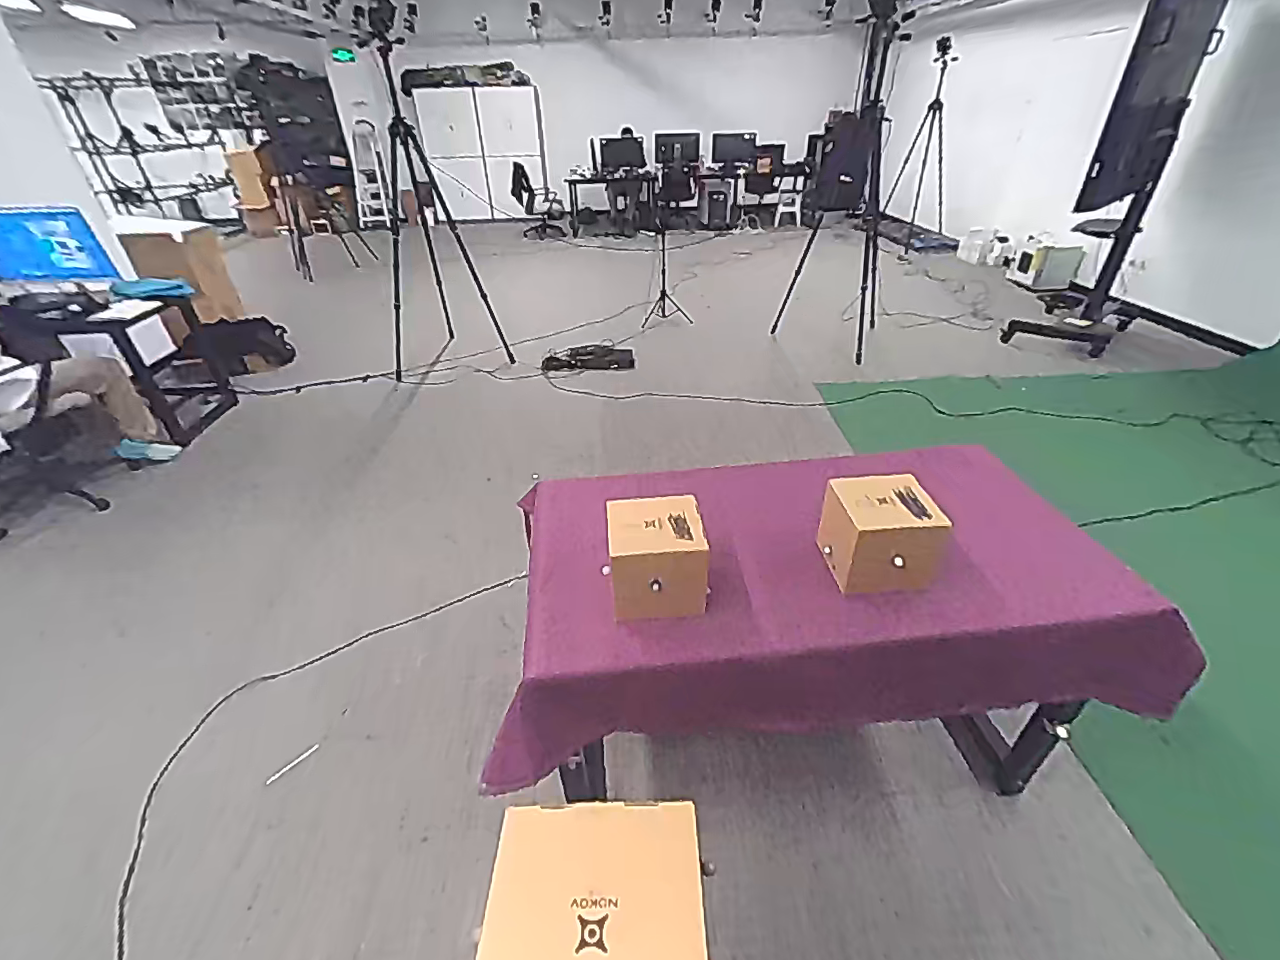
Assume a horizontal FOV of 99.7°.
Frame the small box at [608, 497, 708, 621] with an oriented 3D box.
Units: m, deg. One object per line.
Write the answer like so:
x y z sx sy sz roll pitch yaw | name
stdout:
0.029 0.152 1.043 0.179 0.176 0.168 -4 34 -3 | small box

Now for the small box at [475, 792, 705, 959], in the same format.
-0.031 0.390 0.442 0.168 0.176 0.179 -2 30 0 | small box
